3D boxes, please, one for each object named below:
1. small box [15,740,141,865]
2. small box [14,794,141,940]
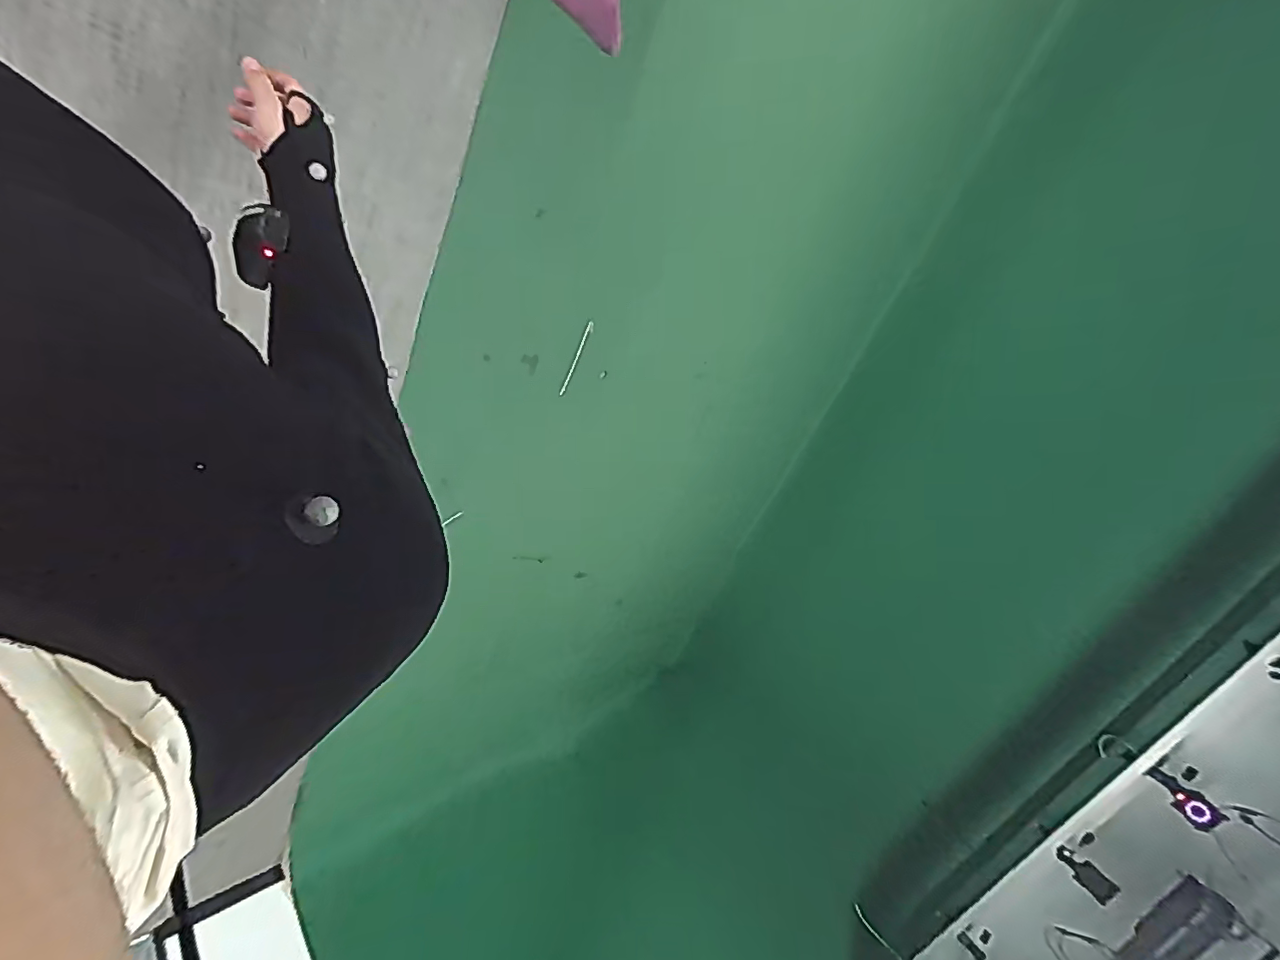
[{"bbox_3d":[-1.348,0.758,1.295,0.179,0.176,0.168,13,112,-54],"label":"small box"},{"bbox_3d":[-1.249,0.848,1.203,0.168,0.176,0.179,12,113,-53],"label":"small box"}]
